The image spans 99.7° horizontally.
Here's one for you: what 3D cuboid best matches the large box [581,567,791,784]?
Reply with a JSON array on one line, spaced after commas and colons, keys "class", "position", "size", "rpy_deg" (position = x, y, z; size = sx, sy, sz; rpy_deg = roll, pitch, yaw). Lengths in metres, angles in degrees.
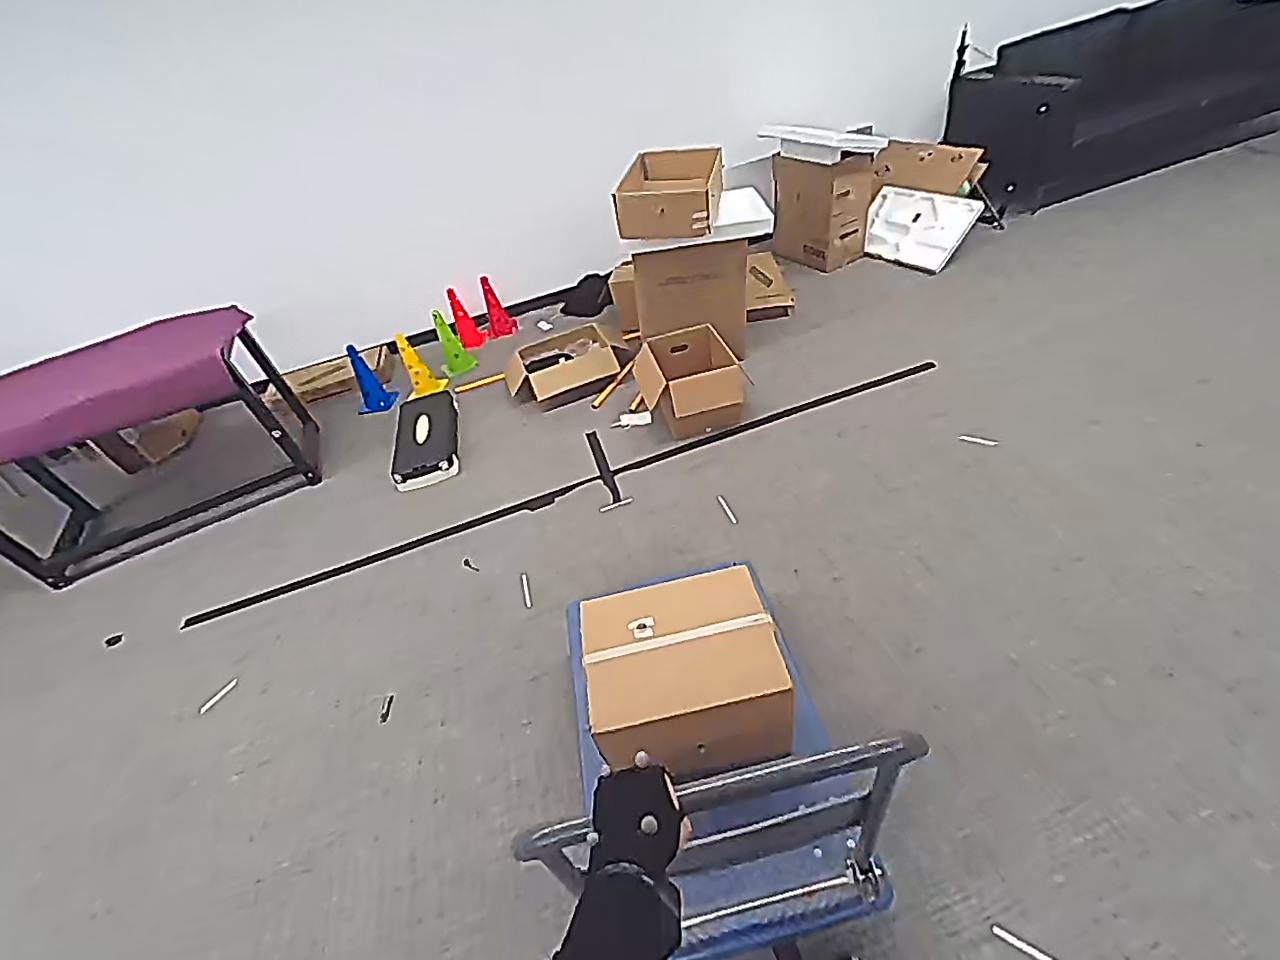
[{"class": "large box", "position": [0.106, 0.458, 1.265], "size": [0.408, 0.320, 0.320], "rpy_deg": [-14, 41, 1]}]
